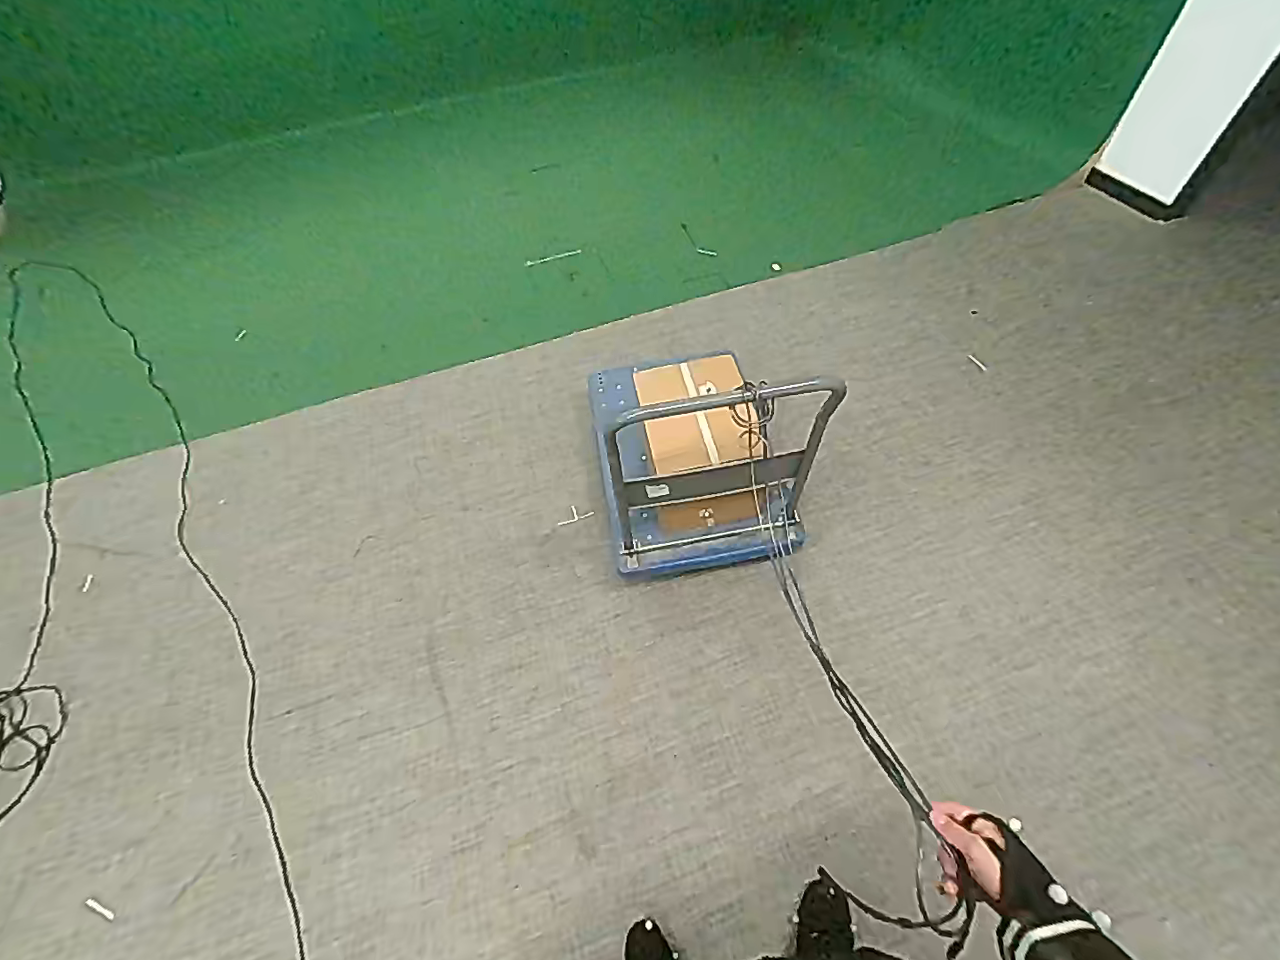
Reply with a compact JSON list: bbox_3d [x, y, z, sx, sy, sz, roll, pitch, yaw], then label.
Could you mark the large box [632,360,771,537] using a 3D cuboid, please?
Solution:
[{"bbox_3d":[0.176,-0.094,1.646,0.320,0.320,0.408,-11,53,-2],"label":"large box"}]
